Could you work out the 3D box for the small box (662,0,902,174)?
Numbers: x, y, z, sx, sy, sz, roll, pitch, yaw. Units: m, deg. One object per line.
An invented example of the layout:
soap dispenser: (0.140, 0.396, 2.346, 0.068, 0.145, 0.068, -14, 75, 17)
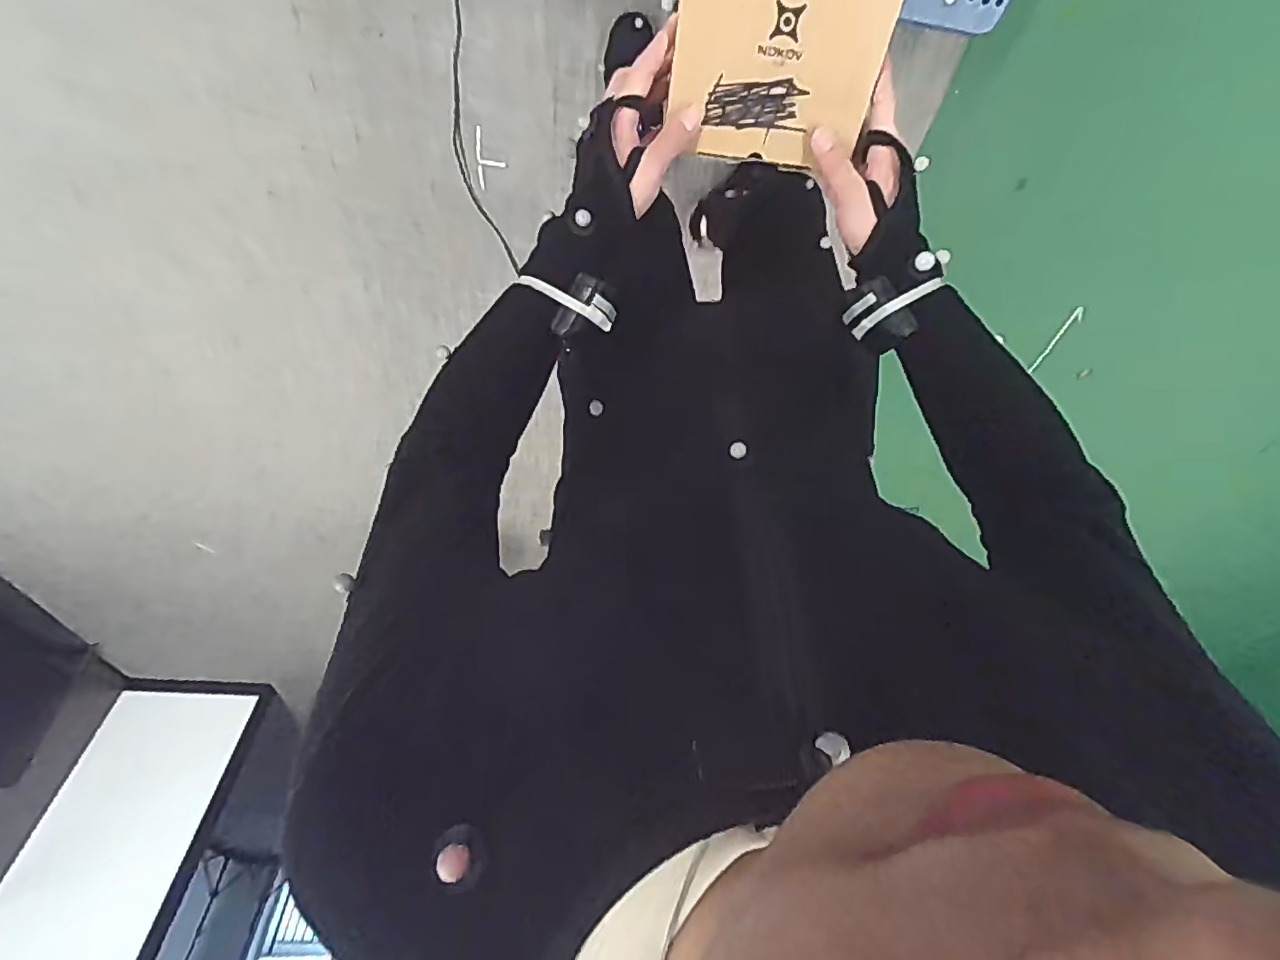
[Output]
small box: (0.114, -0.397, 0.476, 0.168, 0.176, 0.179, 7, 132, -2)
